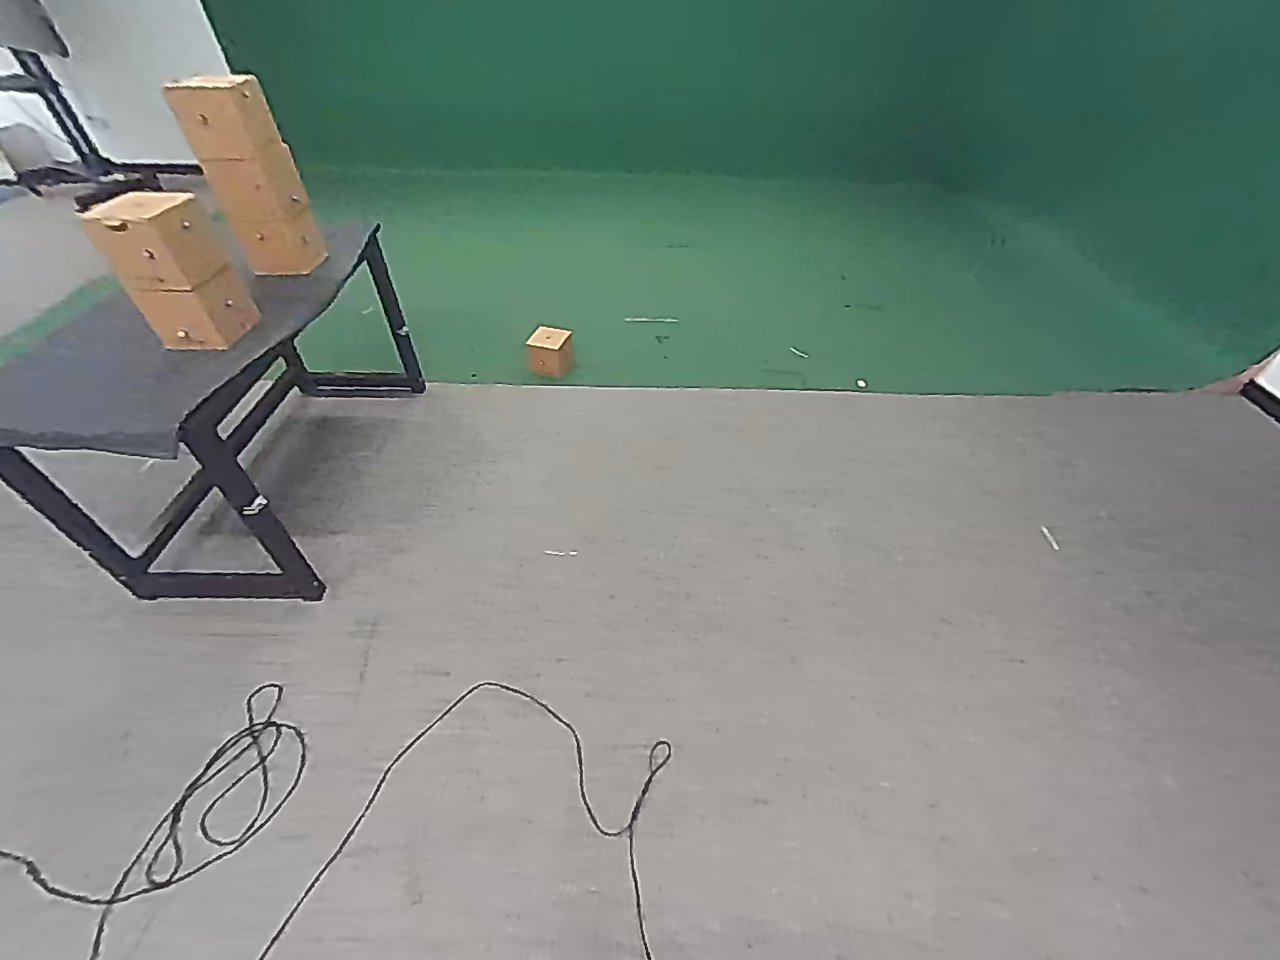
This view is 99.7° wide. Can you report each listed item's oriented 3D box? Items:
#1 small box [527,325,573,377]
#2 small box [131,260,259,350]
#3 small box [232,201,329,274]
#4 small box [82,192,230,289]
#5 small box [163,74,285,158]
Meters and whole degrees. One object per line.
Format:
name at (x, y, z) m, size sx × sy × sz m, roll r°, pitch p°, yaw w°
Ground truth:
small box at (-0.430, -0.624, 2.624) m, size 0.168 × 0.176 × 0.179 m, roll 14°, pitch 46°, yaw 11°
small box at (-1.143, -0.459, 1.412) m, size 0.168 × 0.176 × 0.179 m, roll 1°, pitch 46°, yaw 1°
small box at (-1.136, -0.773, 1.728) m, size 0.179 × 0.176 × 0.168 m, roll 0°, pitch 45°, yaw 1°
small box at (-1.139, -0.571, 1.295) m, size 0.168 × 0.176 × 0.179 m, roll 3°, pitch 44°, yaw 1°
small box at (-1.136, -1.004, 1.494) m, size 0.179 × 0.176 × 0.168 m, roll -2°, pitch 46°, yaw -1°
